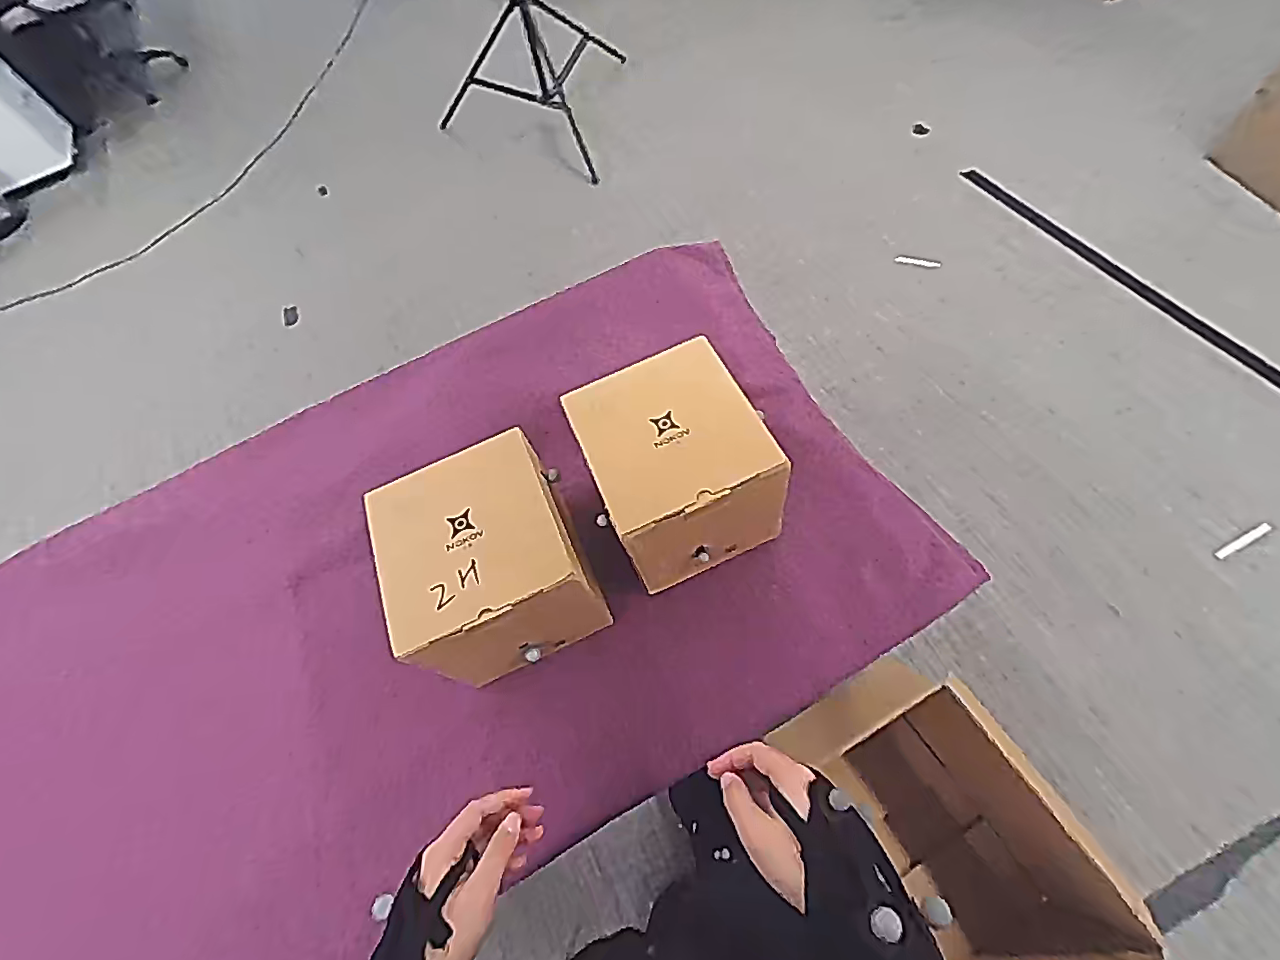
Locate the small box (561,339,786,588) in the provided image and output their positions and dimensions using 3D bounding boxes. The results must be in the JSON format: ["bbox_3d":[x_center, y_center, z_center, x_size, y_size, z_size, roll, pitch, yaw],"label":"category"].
[{"bbox_3d":[0.036,-0.011,0.585,0.168,0.176,0.179,-25,61,-4],"label":"small box"}]

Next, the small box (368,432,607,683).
[{"bbox_3d":[-0.150,0.087,0.564,0.168,0.176,0.179,-25,61,-4],"label":"small box"}]
